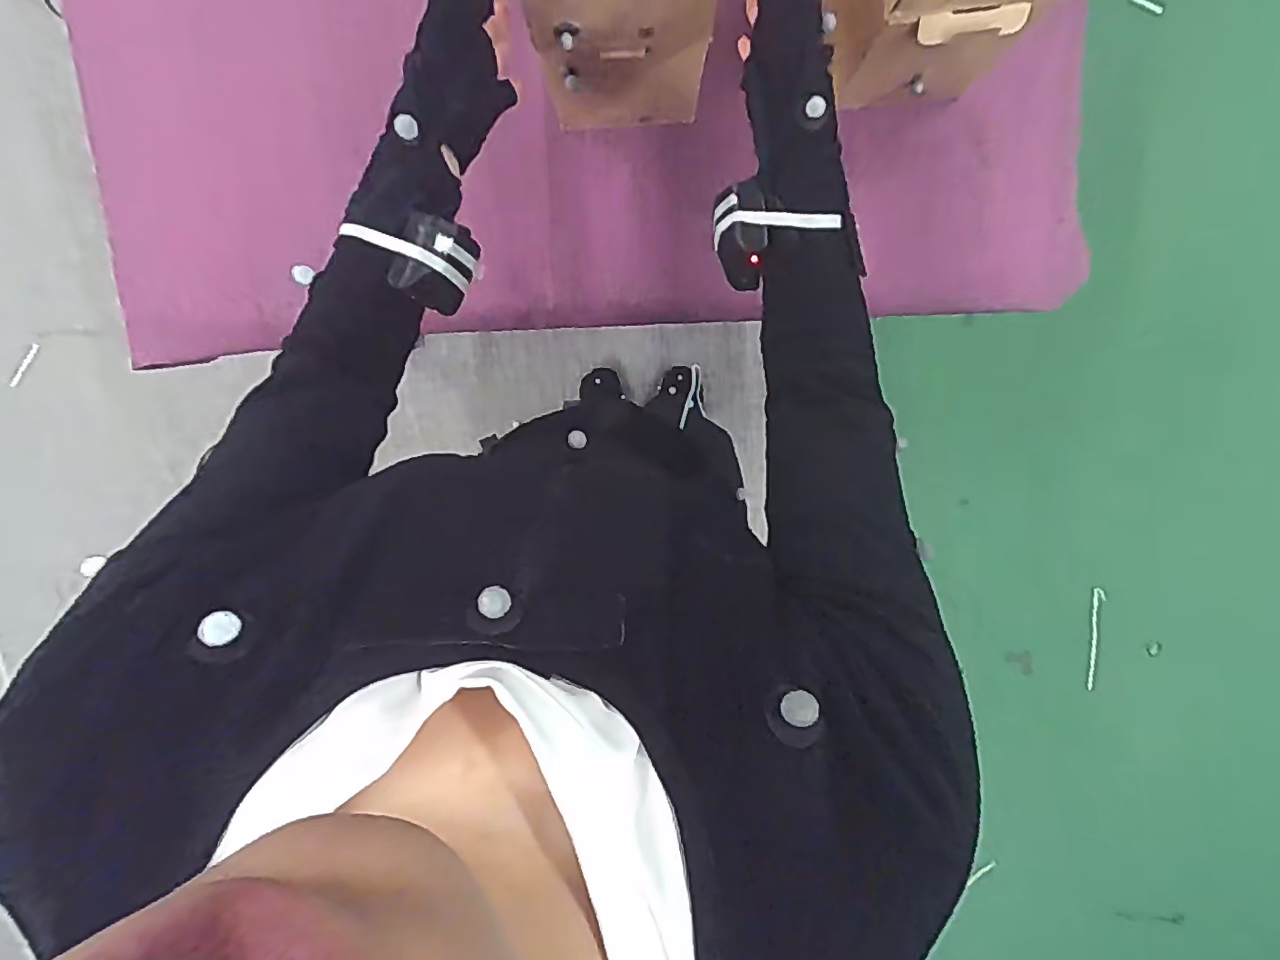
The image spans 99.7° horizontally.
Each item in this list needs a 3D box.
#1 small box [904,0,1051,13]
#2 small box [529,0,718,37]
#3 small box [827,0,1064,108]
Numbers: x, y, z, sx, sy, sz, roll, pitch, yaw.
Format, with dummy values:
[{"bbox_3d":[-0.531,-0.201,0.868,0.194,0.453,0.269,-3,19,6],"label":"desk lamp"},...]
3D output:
[{"bbox_3d":[0.306,-0.505,0.402,0.168,0.176,0.179,-6,101,1],"label":"small box"},{"bbox_3d":[-0.016,-0.473,0.405,0.168,0.176,0.179,-3,99,0],"label":"small box"},{"bbox_3d":[0.303,-0.530,0.563,0.168,0.176,0.179,-6,100,2],"label":"small box"}]
